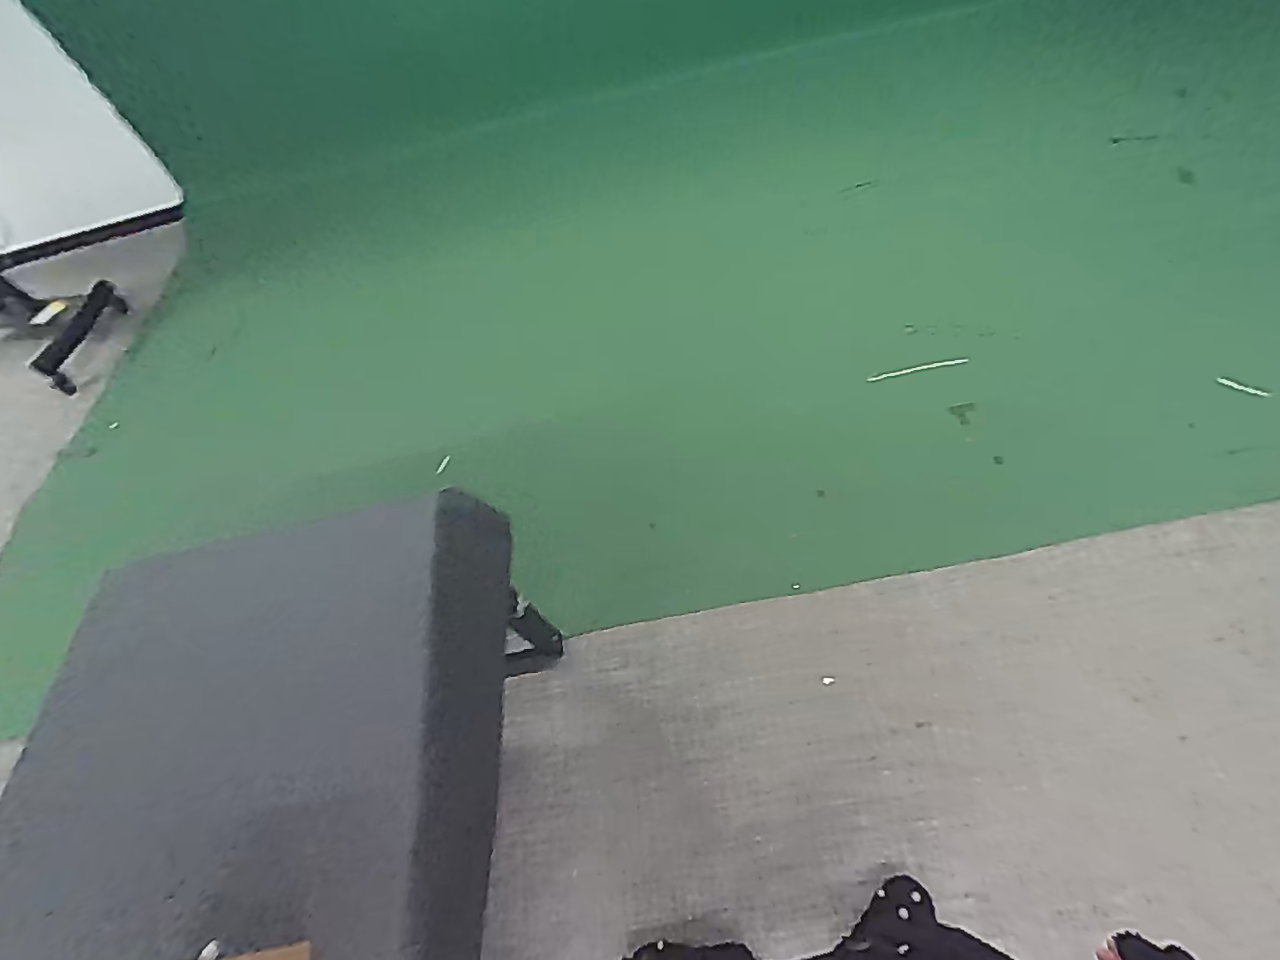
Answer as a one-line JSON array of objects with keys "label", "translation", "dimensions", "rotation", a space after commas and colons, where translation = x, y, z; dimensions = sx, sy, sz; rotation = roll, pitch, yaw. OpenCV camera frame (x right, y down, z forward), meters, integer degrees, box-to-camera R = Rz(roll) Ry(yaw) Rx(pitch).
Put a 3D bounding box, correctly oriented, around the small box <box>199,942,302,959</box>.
[{"label": "small box", "translation": [-0.436, 0.543, 0.476], "dimensions": [0.168, 0.176, 0.179], "rotation": [-14, 54, 4]}]
